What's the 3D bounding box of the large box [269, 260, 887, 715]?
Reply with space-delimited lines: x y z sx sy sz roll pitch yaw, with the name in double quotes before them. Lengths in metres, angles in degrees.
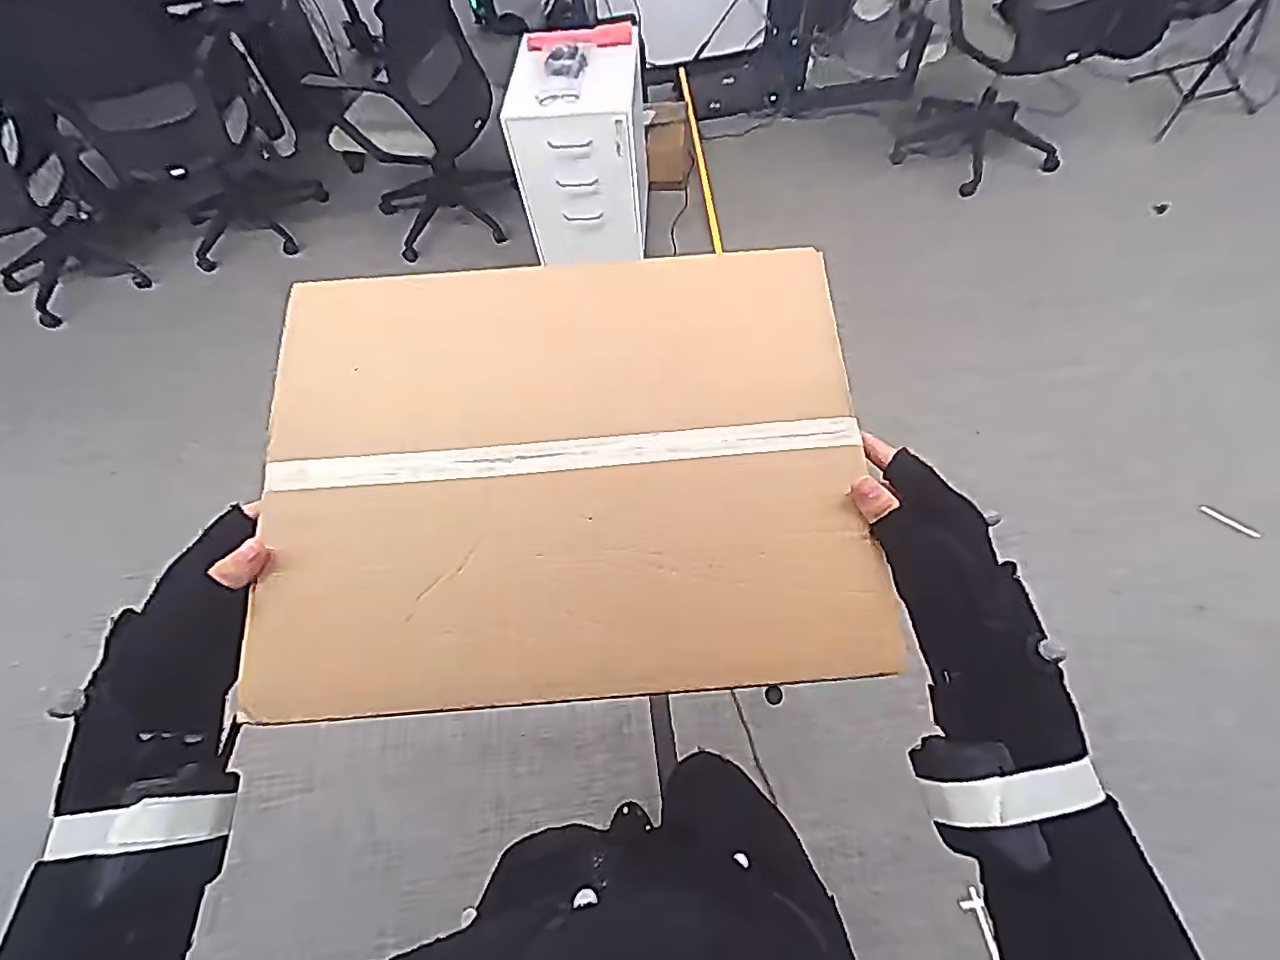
"large box" -0.047 0.027 0.527 0.408 0.320 0.320 -4 73 -1
